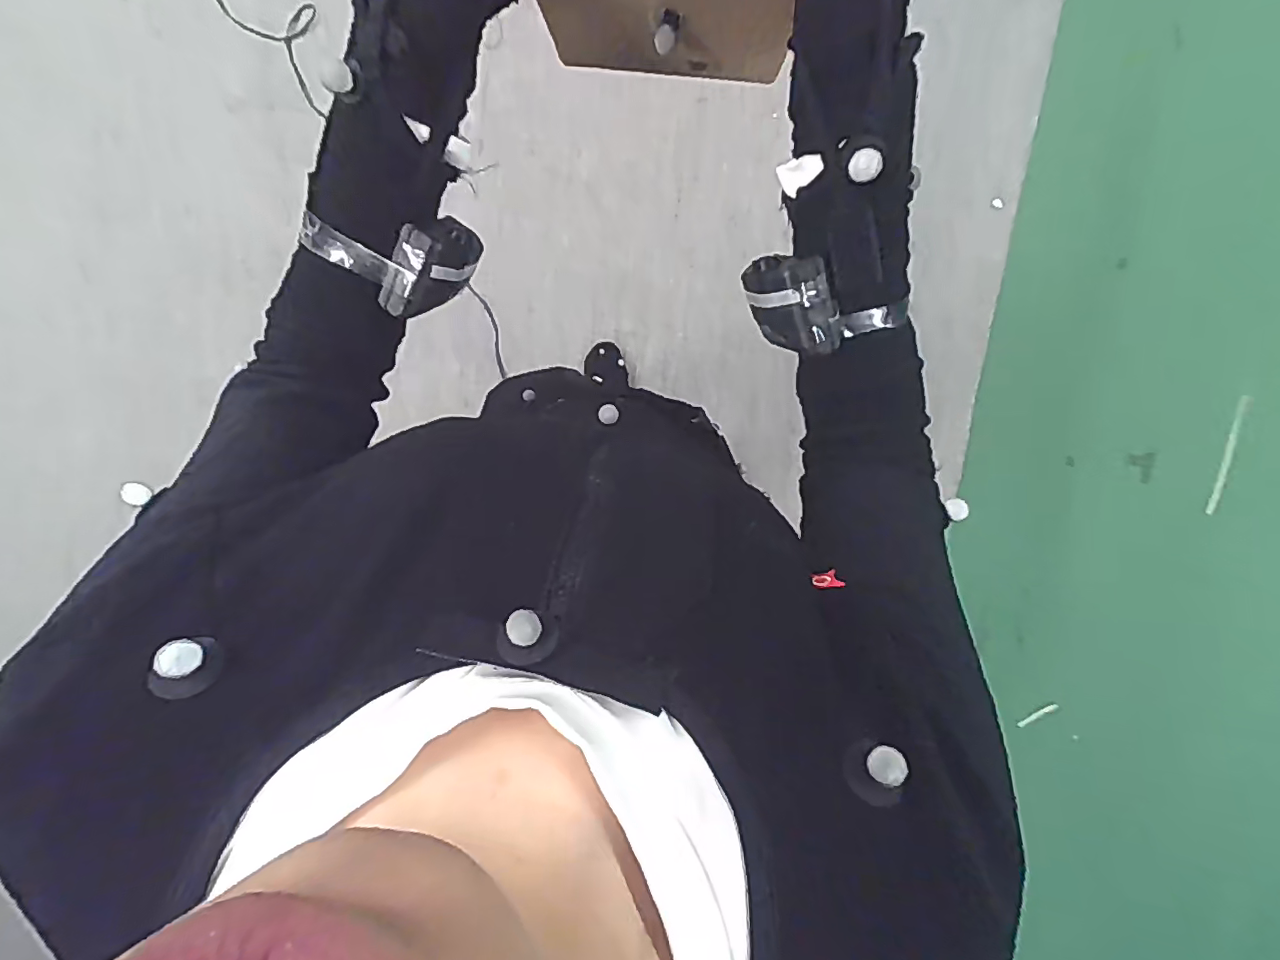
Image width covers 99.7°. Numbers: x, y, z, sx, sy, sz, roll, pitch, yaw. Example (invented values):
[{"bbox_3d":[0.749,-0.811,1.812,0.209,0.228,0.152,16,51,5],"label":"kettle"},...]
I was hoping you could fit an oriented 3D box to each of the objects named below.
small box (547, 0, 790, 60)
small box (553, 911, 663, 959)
[{"bbox_3d":[0.021,-0.379,0.309,0.168,0.176,0.179,6,107,2],"label":"small box"},{"bbox_3d":[-0.060,0.824,0.843,0.179,0.176,0.168,9,95,1],"label":"small box"}]
